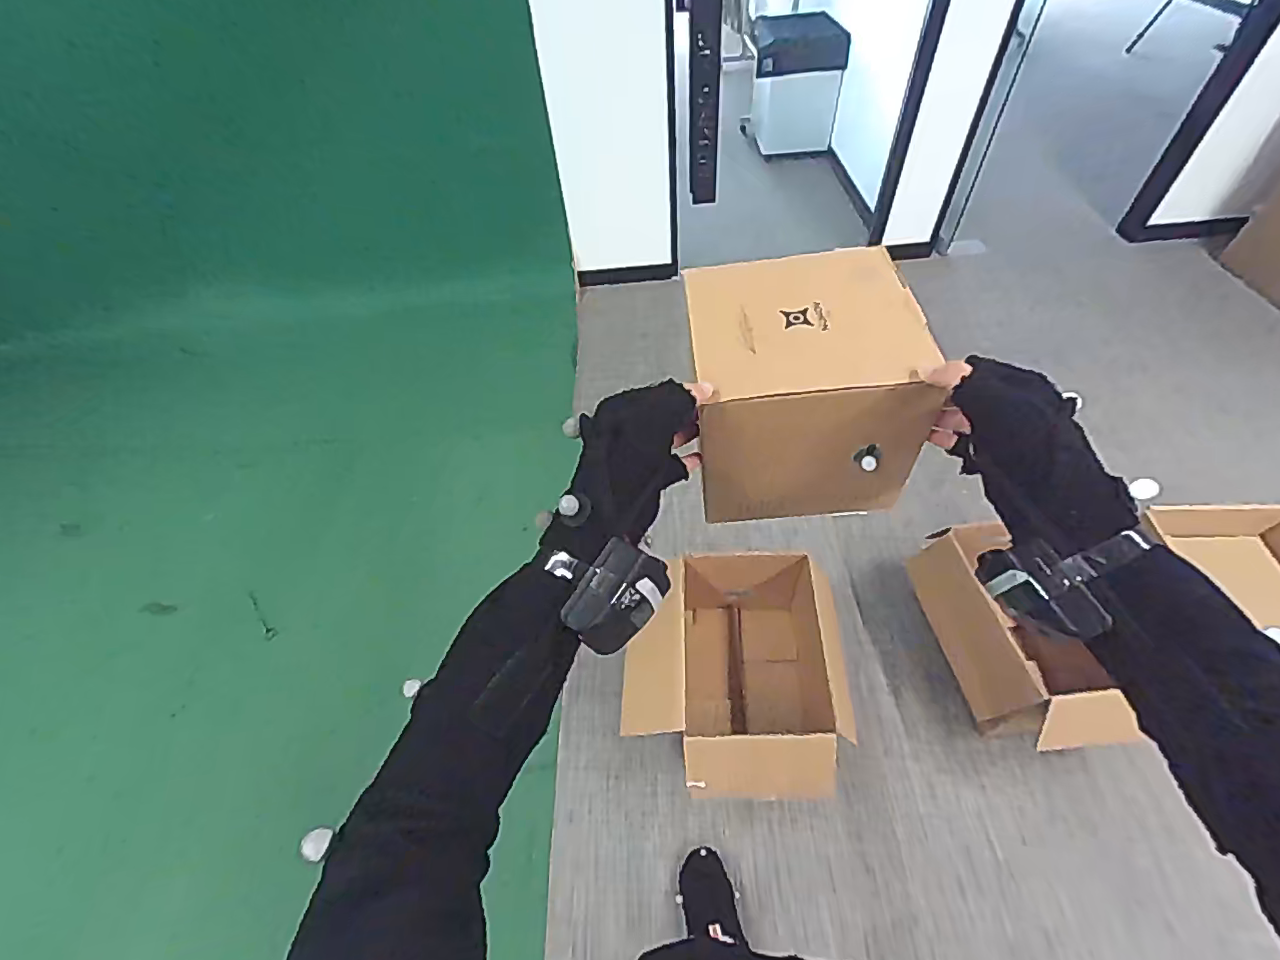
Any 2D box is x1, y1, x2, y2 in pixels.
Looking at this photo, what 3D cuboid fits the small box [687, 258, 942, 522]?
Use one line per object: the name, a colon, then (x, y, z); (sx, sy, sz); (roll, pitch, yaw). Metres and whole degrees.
small box: (0.137, -0.076, 0.500); (0.179, 0.176, 0.168); (-5, 52, 4)
